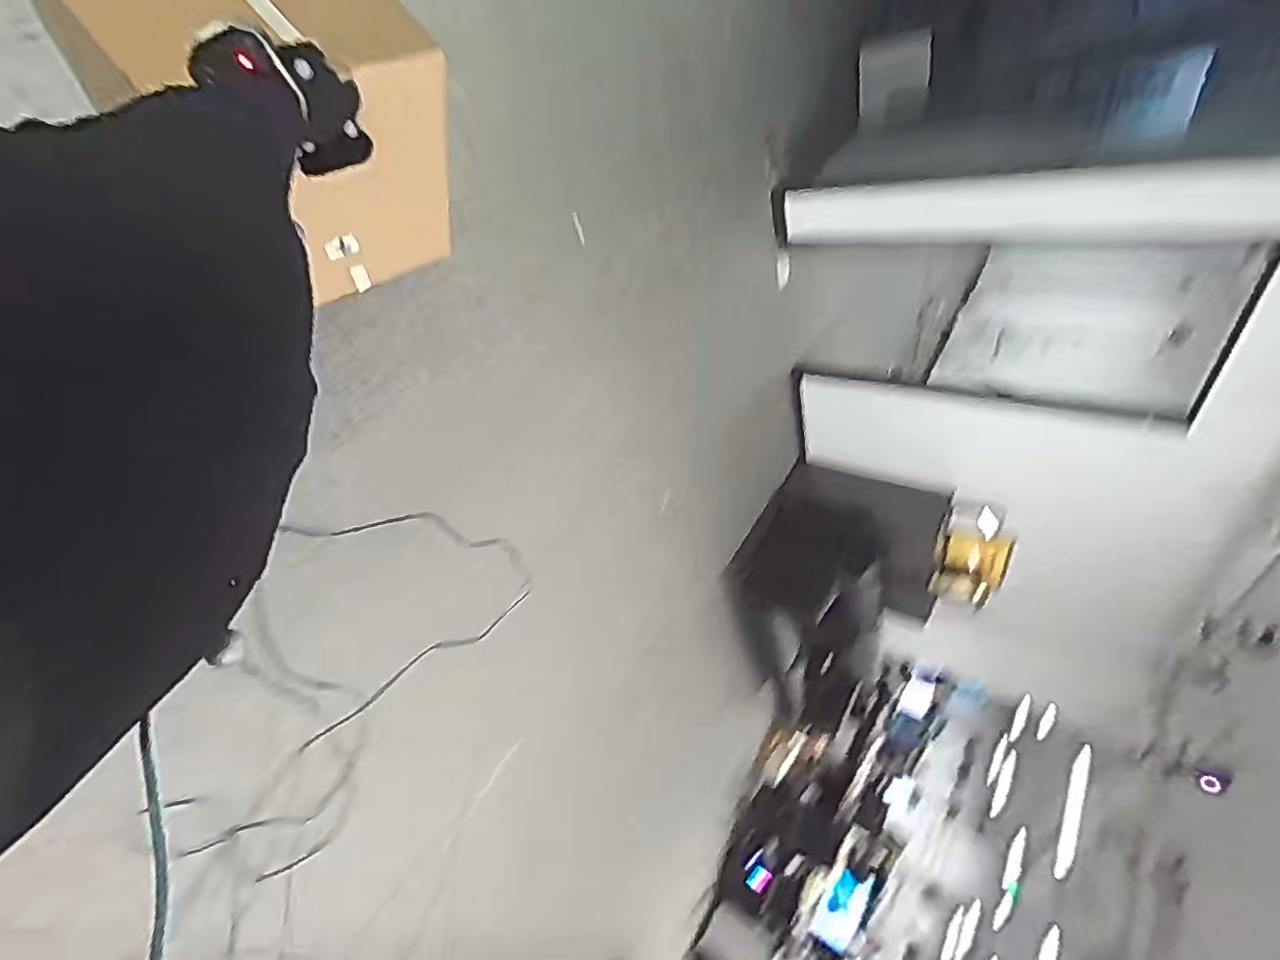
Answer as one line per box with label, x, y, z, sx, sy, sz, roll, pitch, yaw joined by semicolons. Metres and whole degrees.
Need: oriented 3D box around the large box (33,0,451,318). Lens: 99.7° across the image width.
large box;-0.516;-0.509;0.741;0.320;0.408;0.320;-38;170;-29
